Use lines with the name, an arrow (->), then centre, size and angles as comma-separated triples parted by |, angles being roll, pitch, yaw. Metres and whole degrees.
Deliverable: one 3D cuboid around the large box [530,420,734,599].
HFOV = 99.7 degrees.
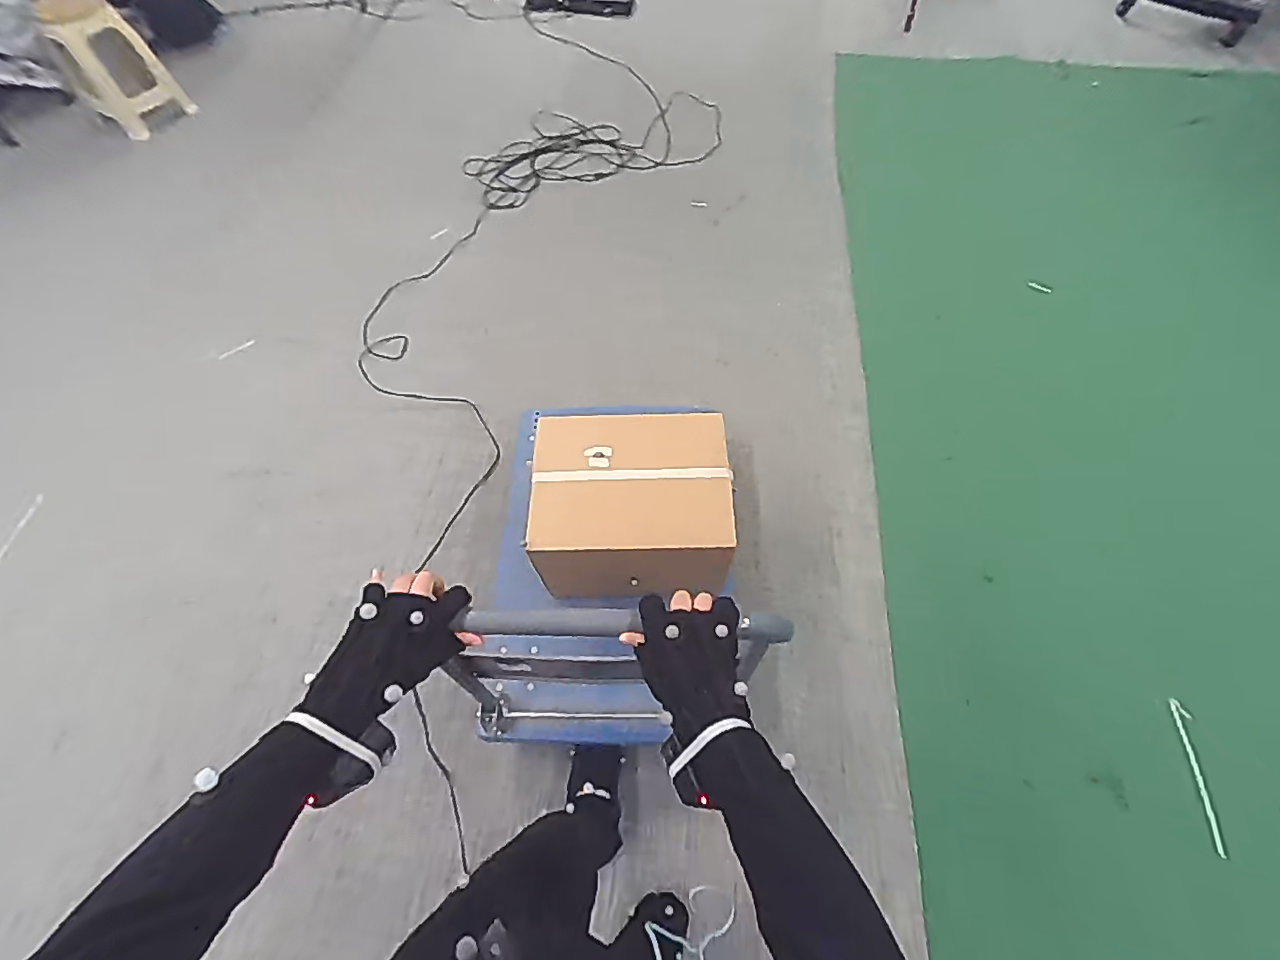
large box -> -0.009, 0.081, 1.243 | 0.408, 0.320, 0.320 | -1, 60, 3
